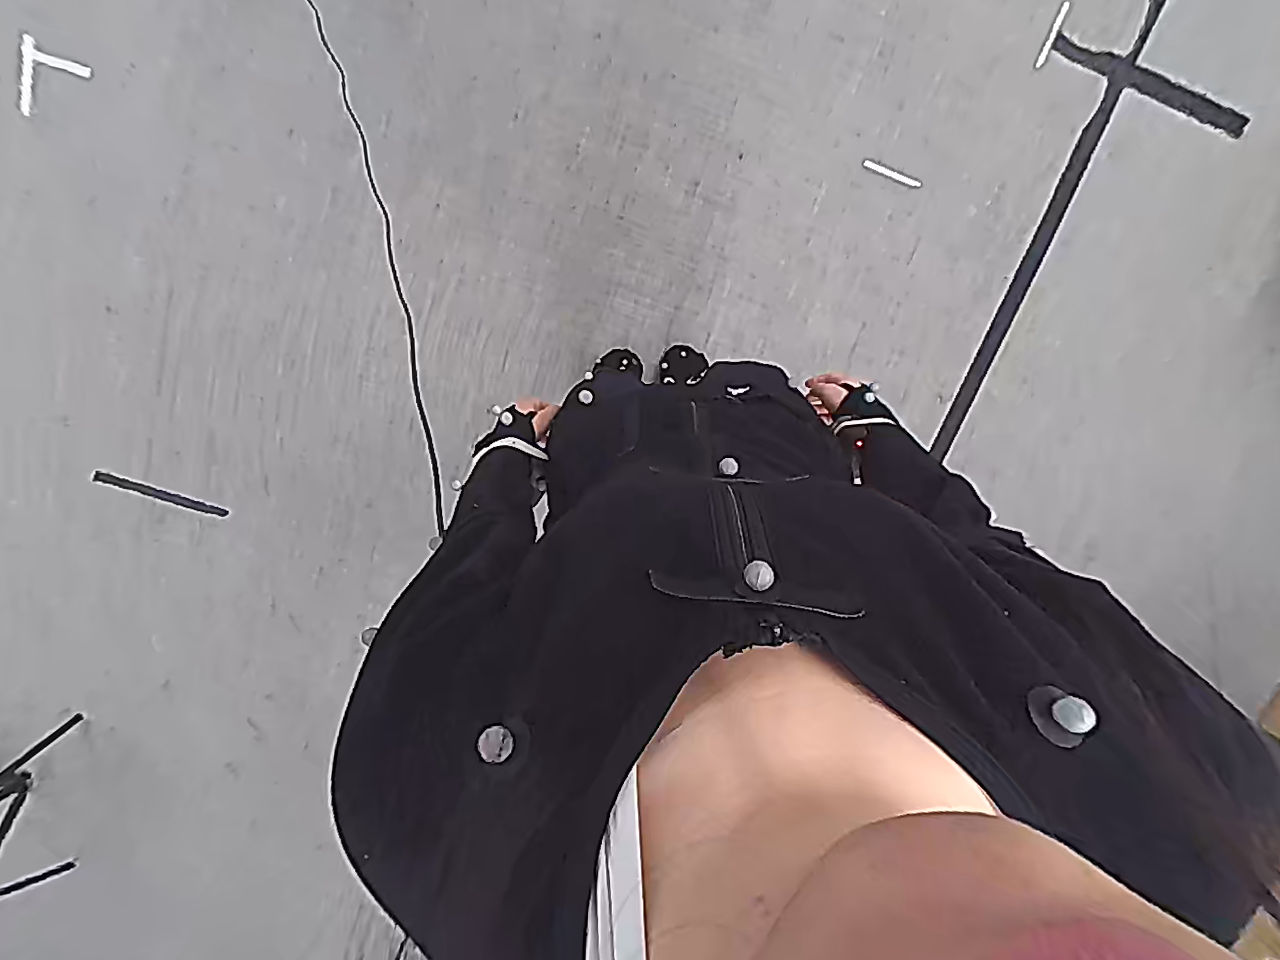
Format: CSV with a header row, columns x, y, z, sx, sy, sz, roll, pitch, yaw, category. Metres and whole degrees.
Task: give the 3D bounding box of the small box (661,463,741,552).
x,y,z,sx,sy,sz,roll,pitch,yaw,category
0.157,0.064,1.440,0.168,0.176,0.179,-17,104,5,small box
